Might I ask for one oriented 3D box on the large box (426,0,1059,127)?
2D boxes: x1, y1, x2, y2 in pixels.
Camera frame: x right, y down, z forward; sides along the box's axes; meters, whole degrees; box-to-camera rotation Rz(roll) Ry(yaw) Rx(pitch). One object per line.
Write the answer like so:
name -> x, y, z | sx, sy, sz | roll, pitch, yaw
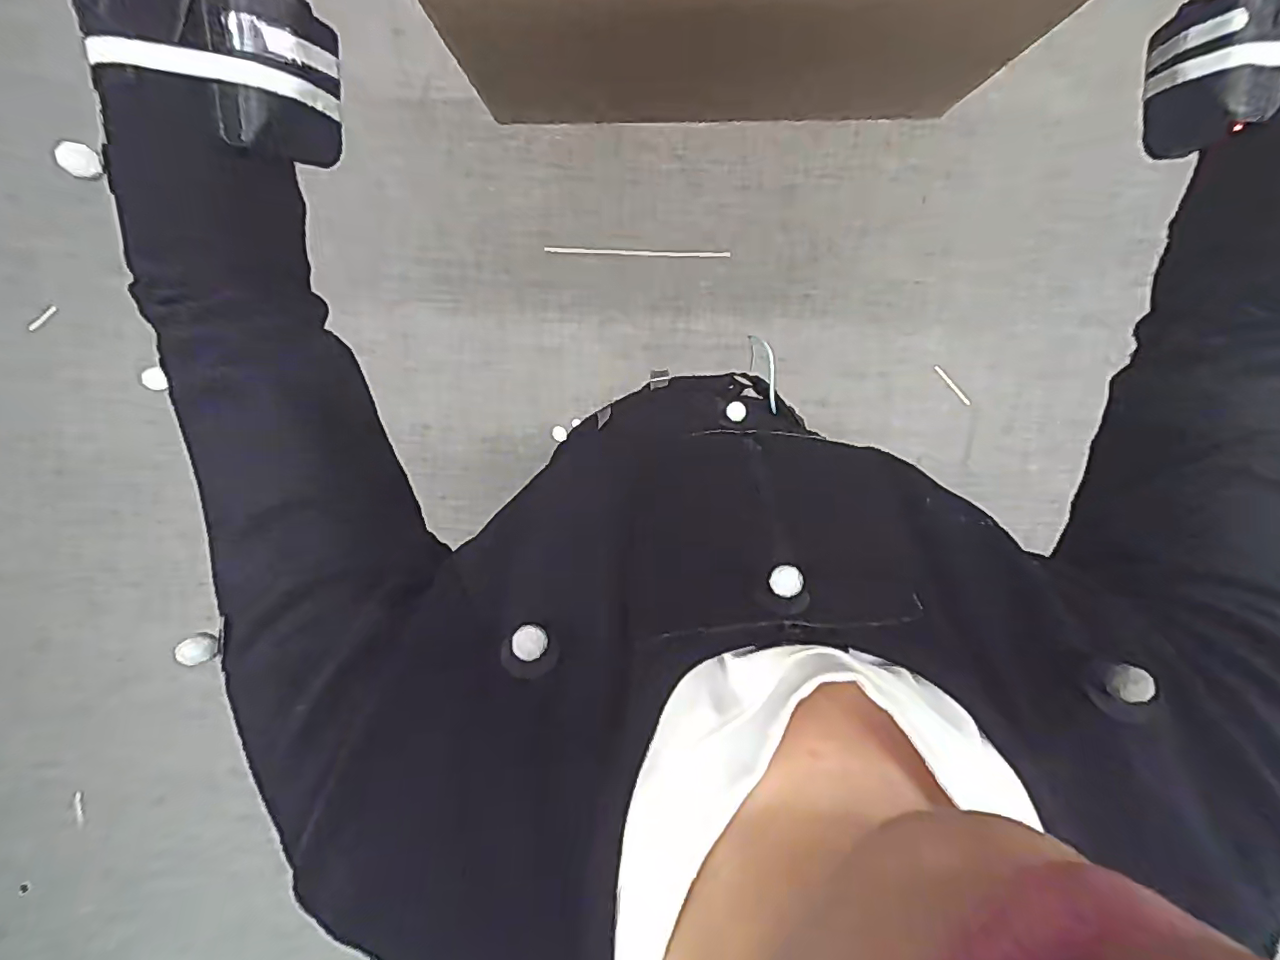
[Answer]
large box -> 0.063, -0.439, 0.309 | 0.408, 0.320, 0.320 | -2, 104, 0
